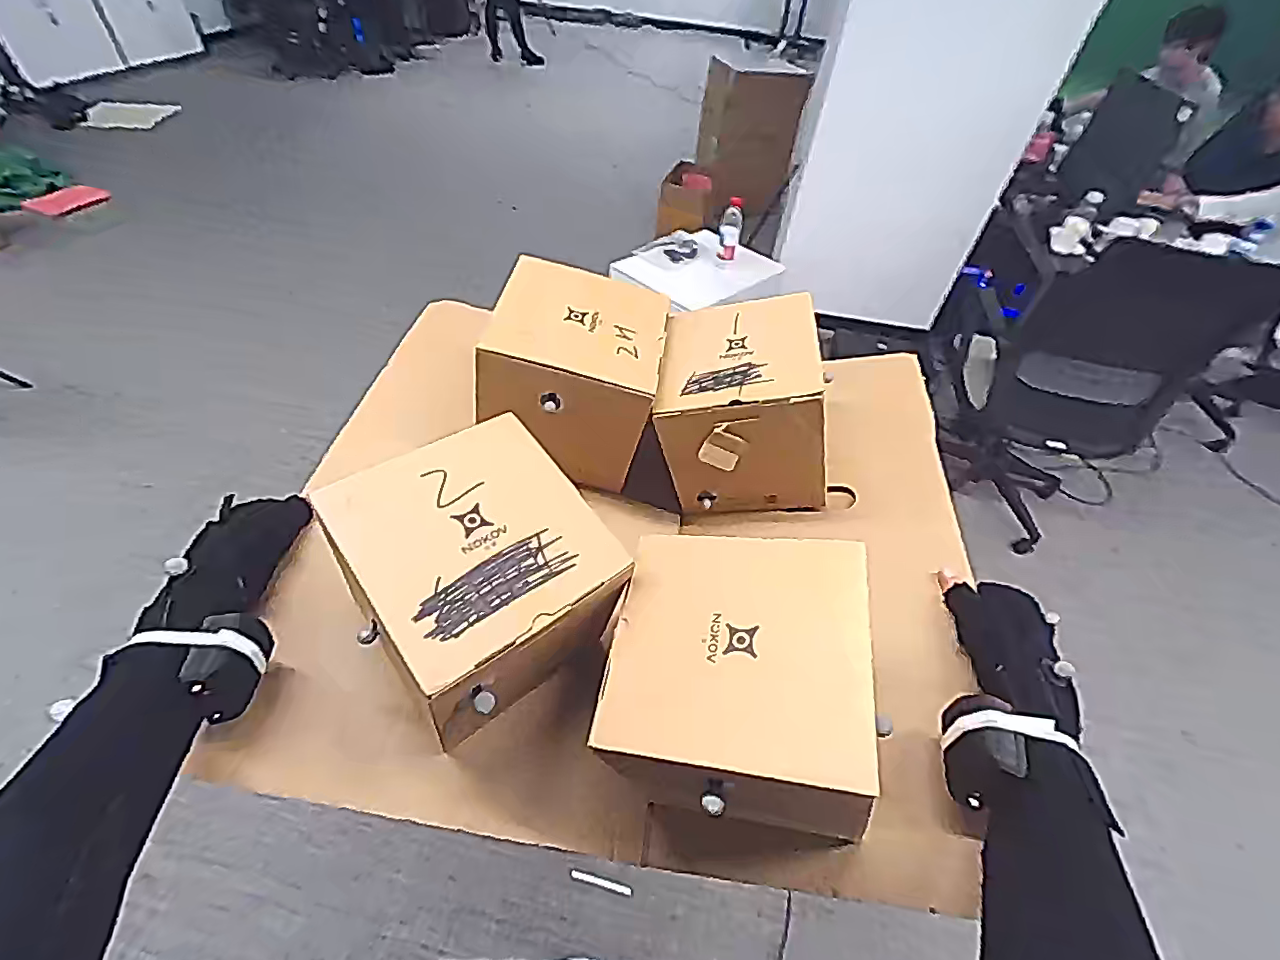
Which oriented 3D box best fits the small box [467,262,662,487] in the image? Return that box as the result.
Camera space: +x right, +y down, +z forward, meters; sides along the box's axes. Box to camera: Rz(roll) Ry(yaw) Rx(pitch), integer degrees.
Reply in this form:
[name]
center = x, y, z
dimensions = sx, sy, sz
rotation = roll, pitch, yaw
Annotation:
[small box]
center = -0.087, -0.113, 0.621
dimensions = 0.179, 0.176, 0.168
rotation = 14, 52, -7
